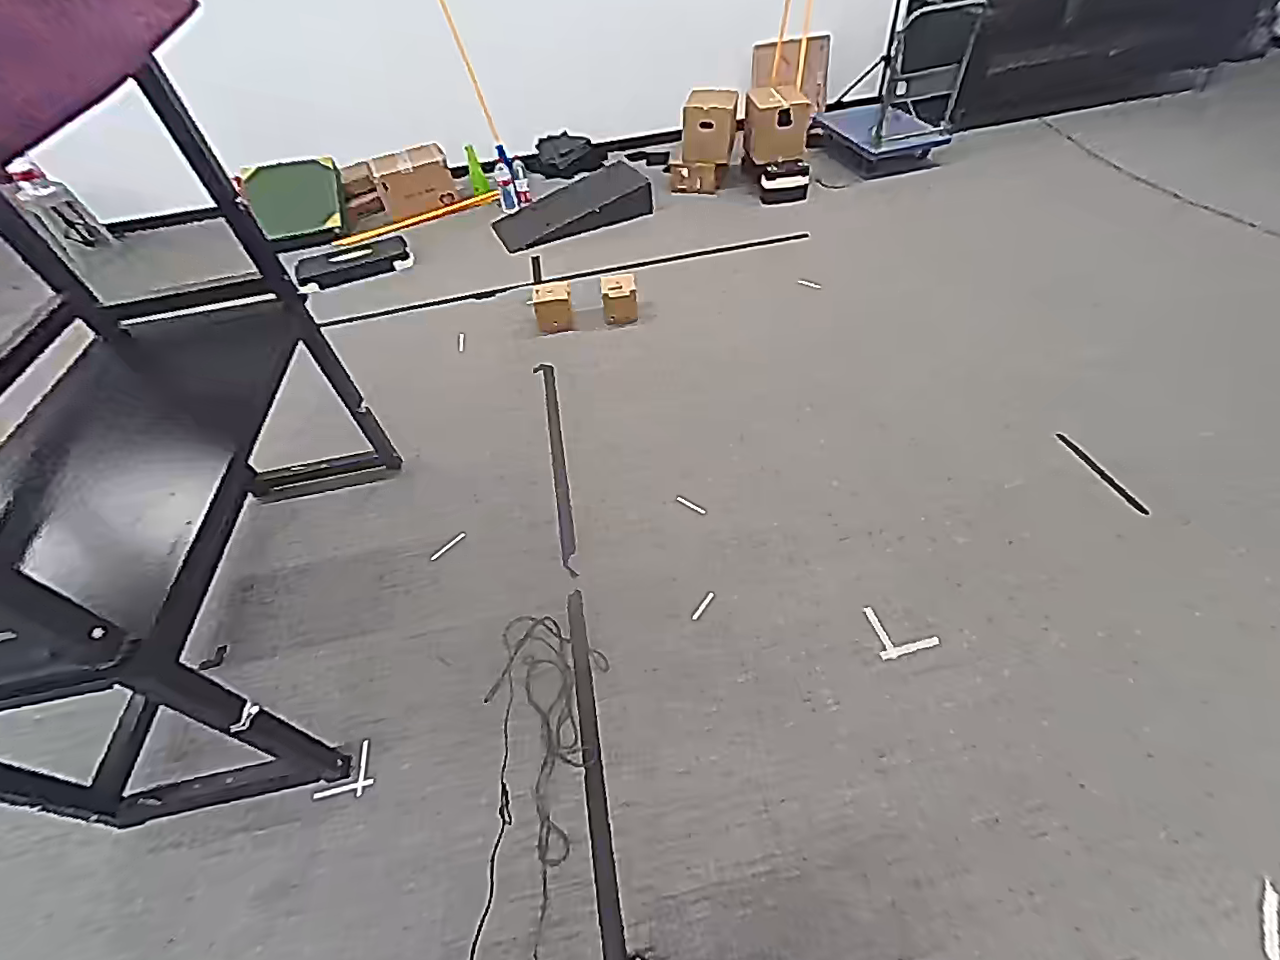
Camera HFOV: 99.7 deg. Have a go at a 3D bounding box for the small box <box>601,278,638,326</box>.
[{"bbox_3d":[-0.101,-0.889,2.713,0.168,0.176,0.179,-6,47,0],"label":"small box"}]

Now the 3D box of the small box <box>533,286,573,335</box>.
[{"bbox_3d":[-0.431,-0.846,2.710,0.179,0.176,0.168,-7,48,-1],"label":"small box"}]
